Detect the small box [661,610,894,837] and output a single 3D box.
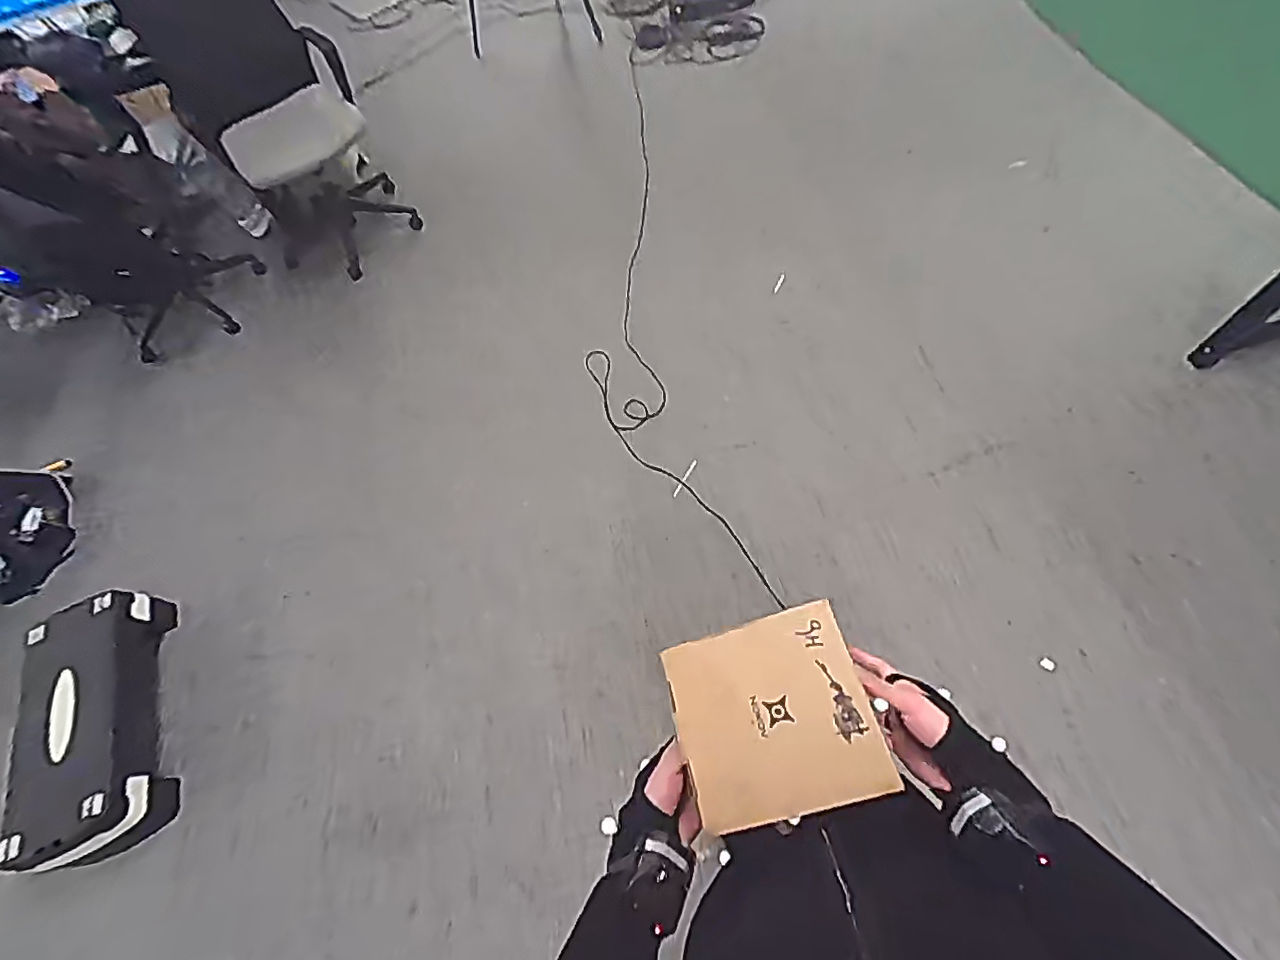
[{"bbox_3d":[0.142,0.252,0.562,0.179,0.176,0.168,-19,61,12],"label":"small box"}]
